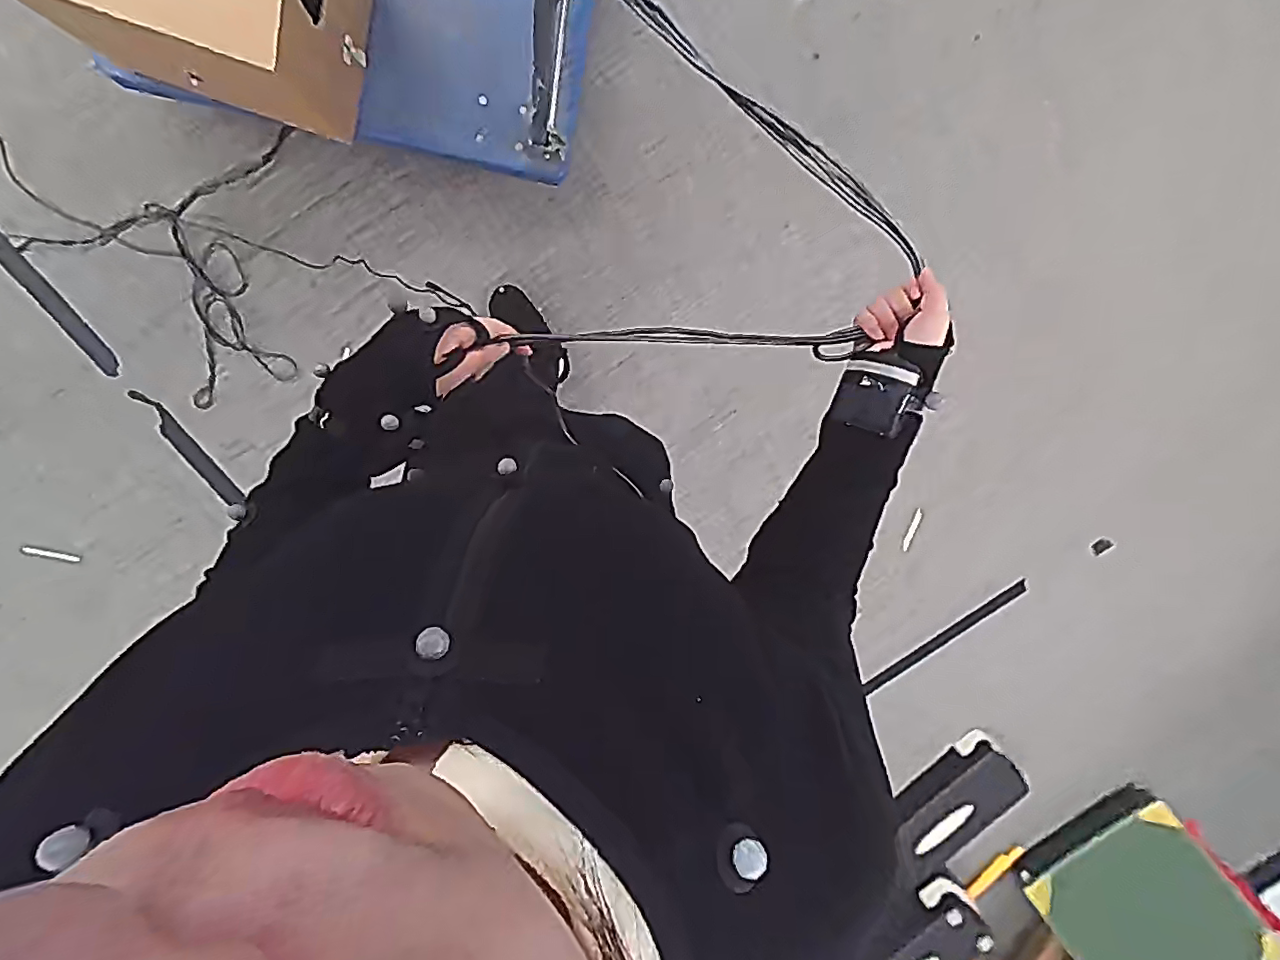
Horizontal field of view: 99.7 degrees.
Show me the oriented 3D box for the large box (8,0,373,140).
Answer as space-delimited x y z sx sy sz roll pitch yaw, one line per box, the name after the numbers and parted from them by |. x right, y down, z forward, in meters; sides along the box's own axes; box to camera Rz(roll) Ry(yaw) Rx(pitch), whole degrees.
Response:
-0.691 -0.808 0.854 0.408 0.320 0.320 13 101 -11 | large box
